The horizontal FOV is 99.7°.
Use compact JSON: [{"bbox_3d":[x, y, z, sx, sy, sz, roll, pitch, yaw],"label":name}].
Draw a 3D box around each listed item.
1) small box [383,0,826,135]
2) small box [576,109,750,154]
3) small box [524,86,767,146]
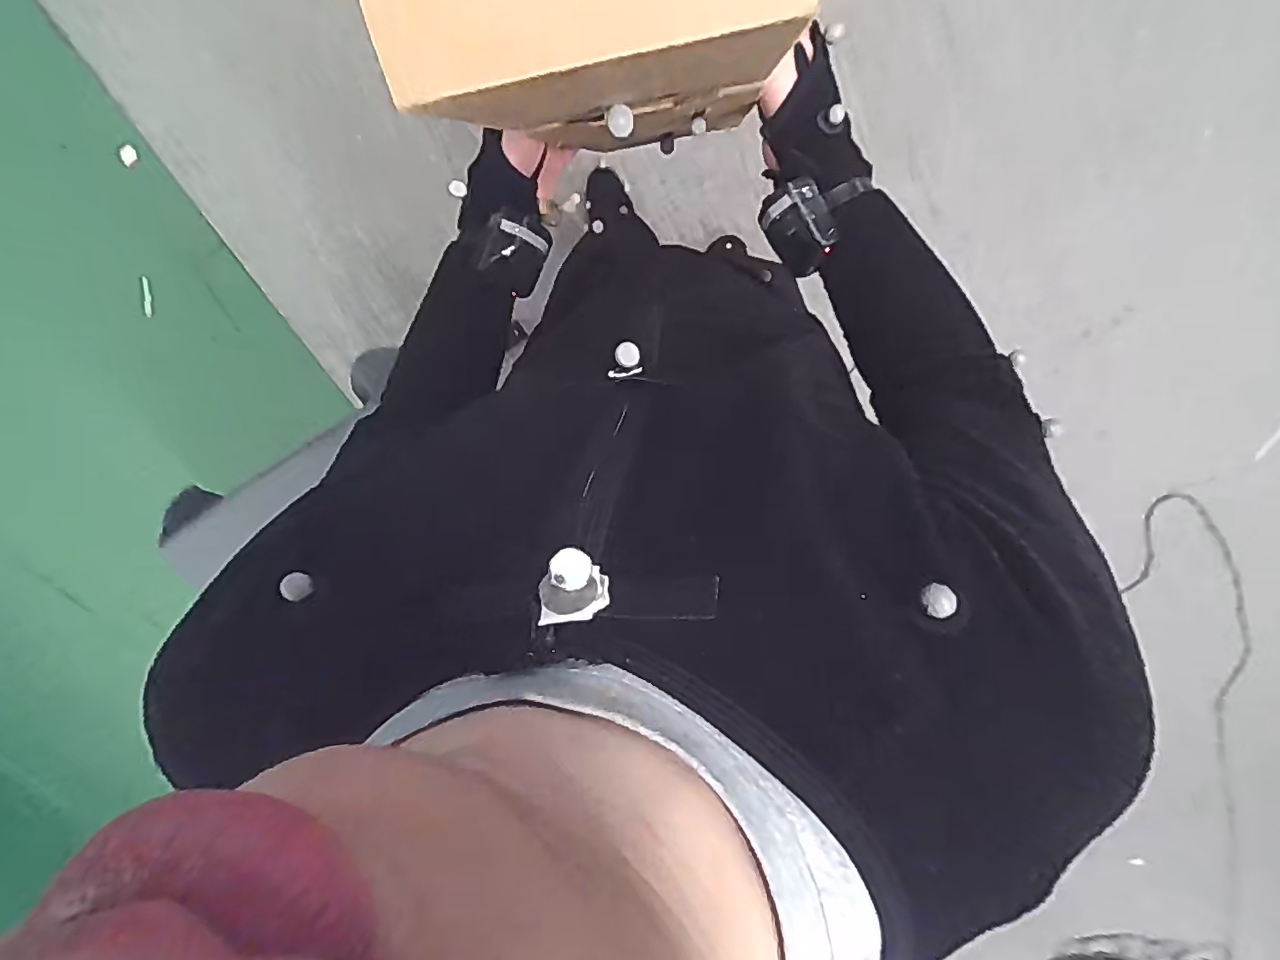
[{"bbox_3d":[-0.017,-0.271,0.239,0.168,0.176,0.179,-5,120,9],"label":"small box"},{"bbox_3d":[0.016,-0.429,0.523,0.168,0.176,0.179,-5,119,10],"label":"small box"},{"bbox_3d":[-0.001,-0.350,0.383,0.168,0.176,0.179,-5,117,9],"label":"small box"}]
